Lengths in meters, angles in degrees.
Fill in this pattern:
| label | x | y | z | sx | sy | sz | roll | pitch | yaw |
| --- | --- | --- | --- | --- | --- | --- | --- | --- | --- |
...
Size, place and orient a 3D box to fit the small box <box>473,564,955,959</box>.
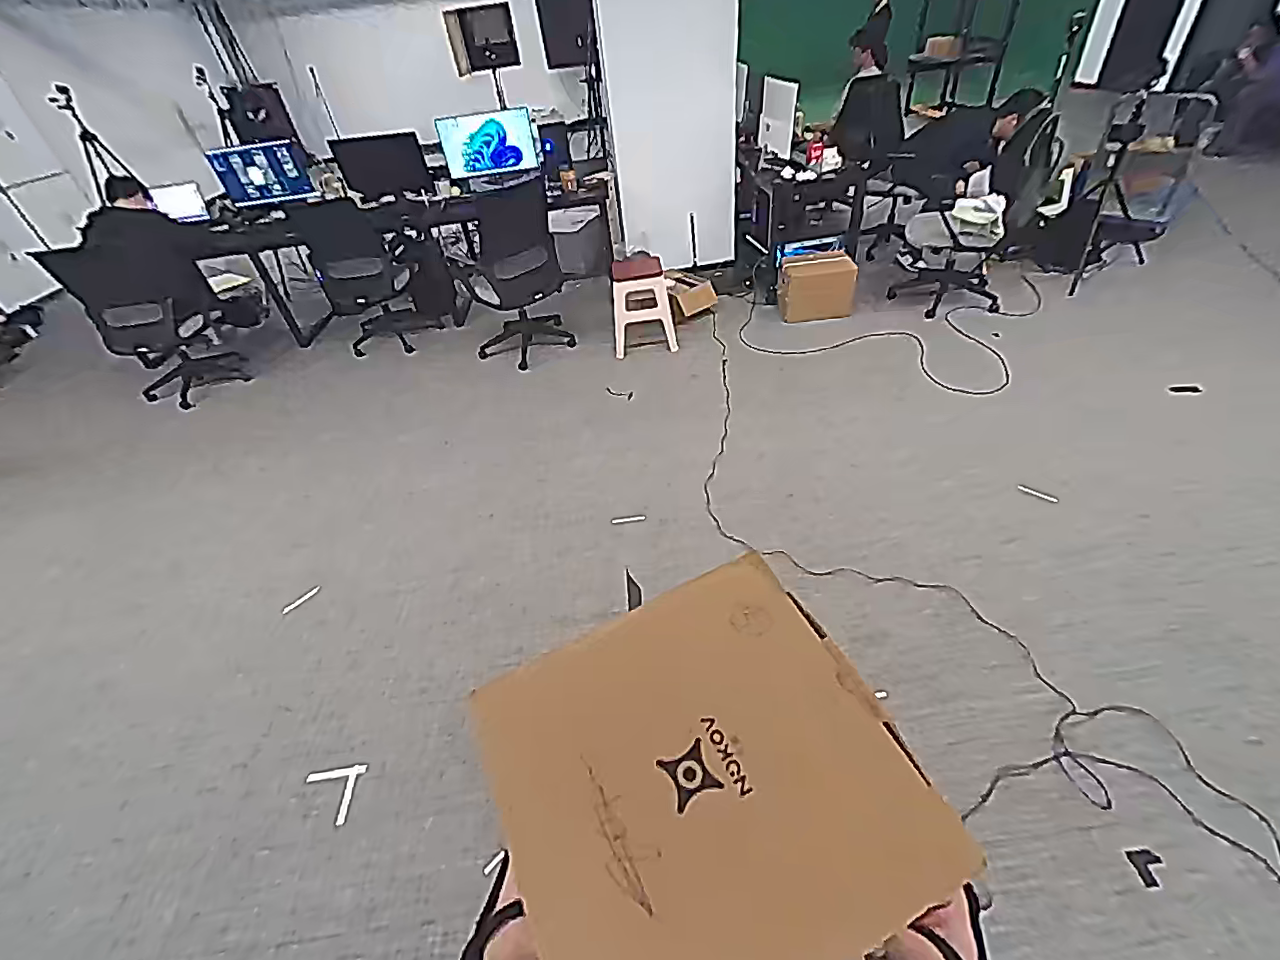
| label | x | y | z | sx | sy | sz | roll | pitch | yaw |
| --- | --- | --- | --- | --- | --- | --- | --- | --- | --- |
| small box | 0.030 | 0.185 | 0.319 | 0.179 | 0.176 | 0.168 | -25 | 54 | -11 |
